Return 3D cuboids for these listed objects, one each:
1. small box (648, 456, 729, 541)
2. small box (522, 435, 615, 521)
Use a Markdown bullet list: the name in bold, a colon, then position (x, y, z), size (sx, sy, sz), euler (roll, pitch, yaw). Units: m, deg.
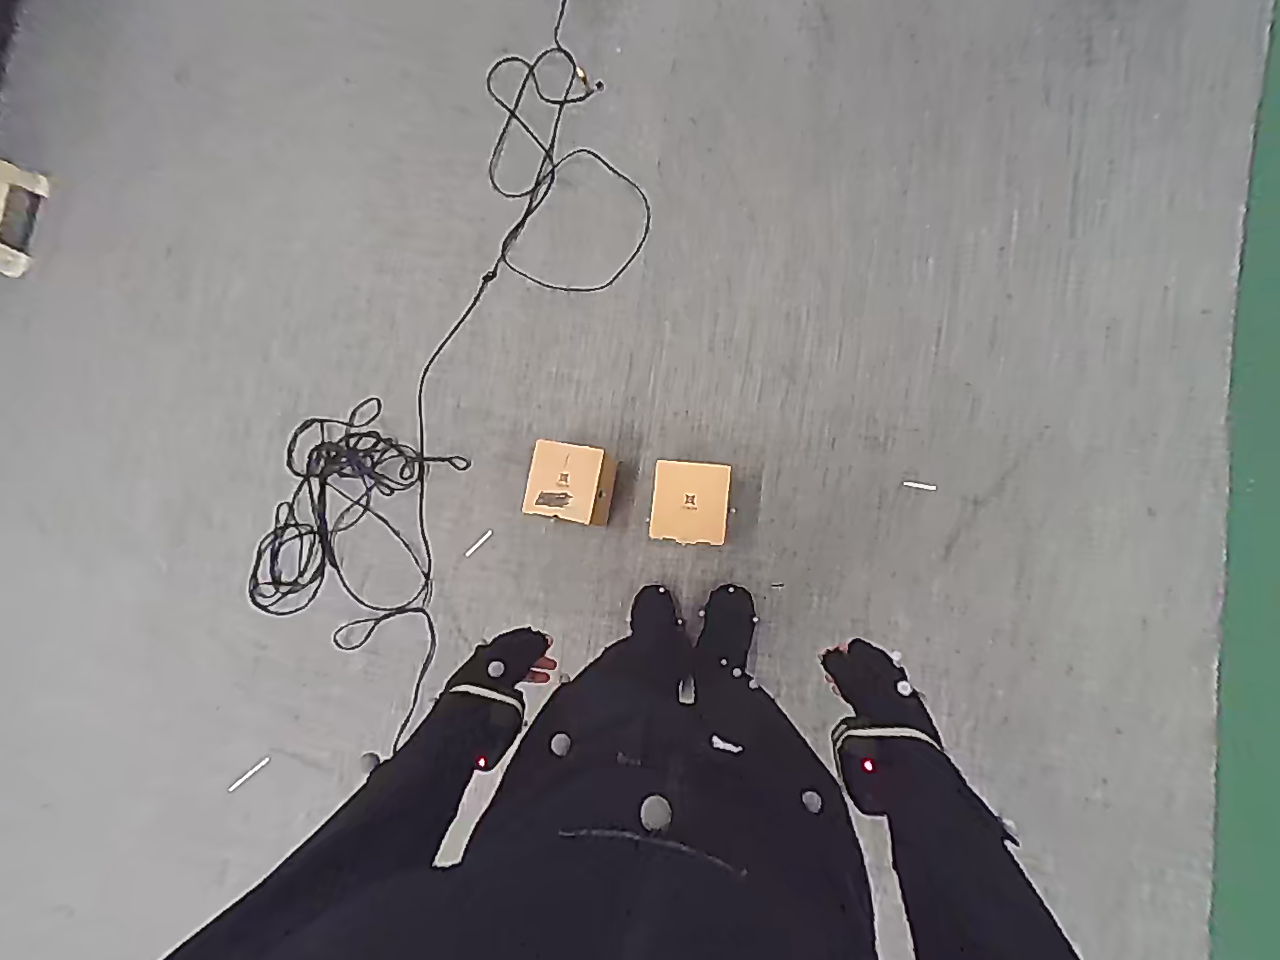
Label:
- **small box**: position (0.118, 0.046, 1.264), size (0.168, 0.176, 0.179), euler (5, 86, 10)
- **small box**: position (-0.166, 0.002, 1.315), size (0.168, 0.176, 0.179), euler (10, 85, 10)
